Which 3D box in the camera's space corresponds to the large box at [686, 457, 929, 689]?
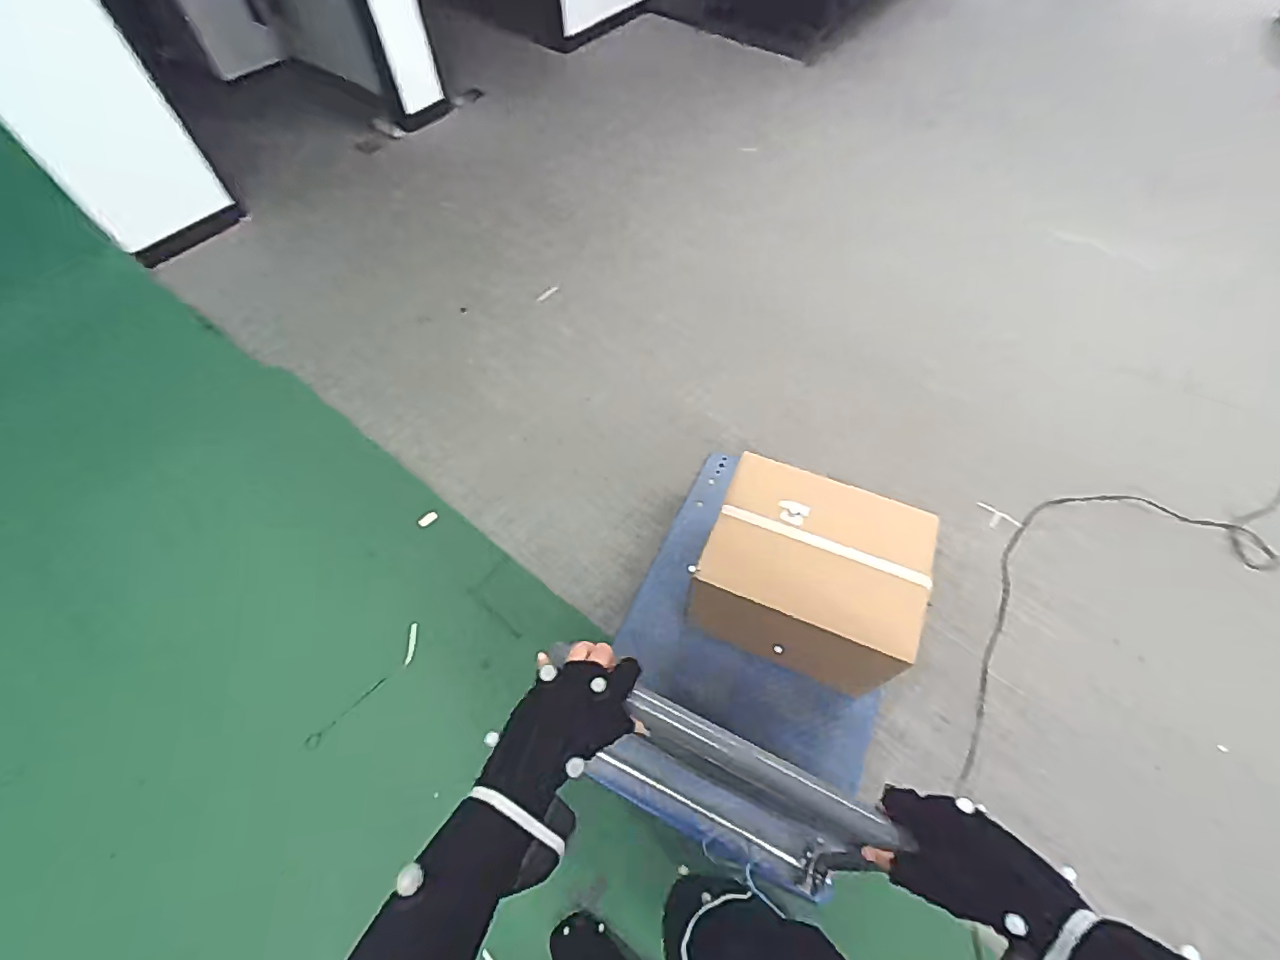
[{"bbox_3d":[0.342,0.206,1.168,0.408,0.320,0.320,19,60,13],"label":"large box"}]
